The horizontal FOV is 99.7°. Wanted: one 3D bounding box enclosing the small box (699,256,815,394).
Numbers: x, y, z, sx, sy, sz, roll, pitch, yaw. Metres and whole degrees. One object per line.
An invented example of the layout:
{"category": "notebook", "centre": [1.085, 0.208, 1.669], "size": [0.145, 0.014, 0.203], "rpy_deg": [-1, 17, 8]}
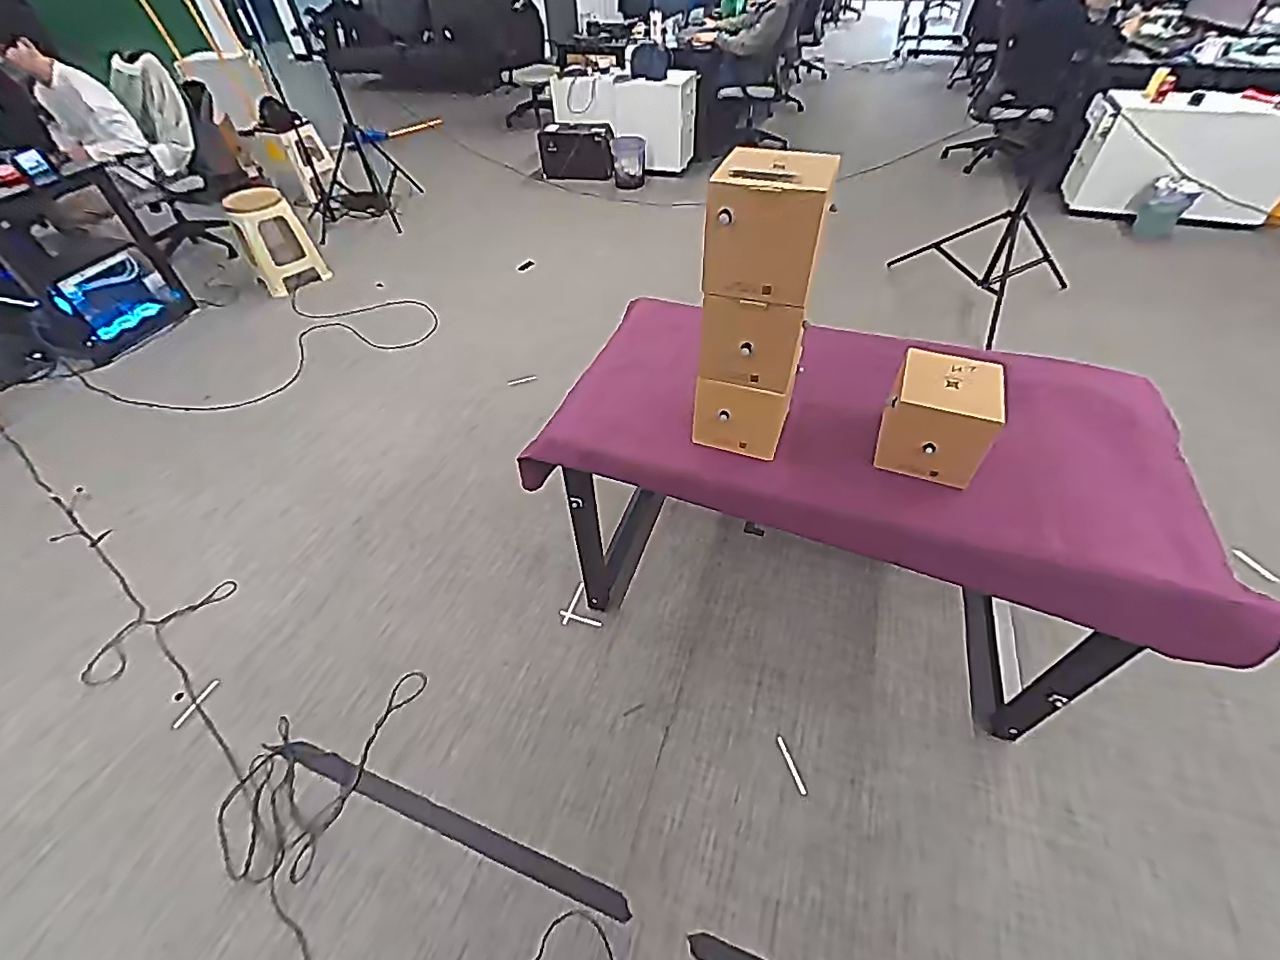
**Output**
{"category": "small box", "centre": [0.207, -0.279, 0.977], "size": [0.168, 0.176, 0.179], "rpy_deg": [13, 49, 14]}

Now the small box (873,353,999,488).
{"category": "small box", "centre": [0.557, -0.112, 1.030], "size": [0.168, 0.176, 0.179], "rpy_deg": [17, 49, 16]}

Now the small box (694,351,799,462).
{"category": "small box", "centre": [0.210, -0.162, 1.092], "size": [0.168, 0.176, 0.179], "rpy_deg": [15, 48, 15]}
